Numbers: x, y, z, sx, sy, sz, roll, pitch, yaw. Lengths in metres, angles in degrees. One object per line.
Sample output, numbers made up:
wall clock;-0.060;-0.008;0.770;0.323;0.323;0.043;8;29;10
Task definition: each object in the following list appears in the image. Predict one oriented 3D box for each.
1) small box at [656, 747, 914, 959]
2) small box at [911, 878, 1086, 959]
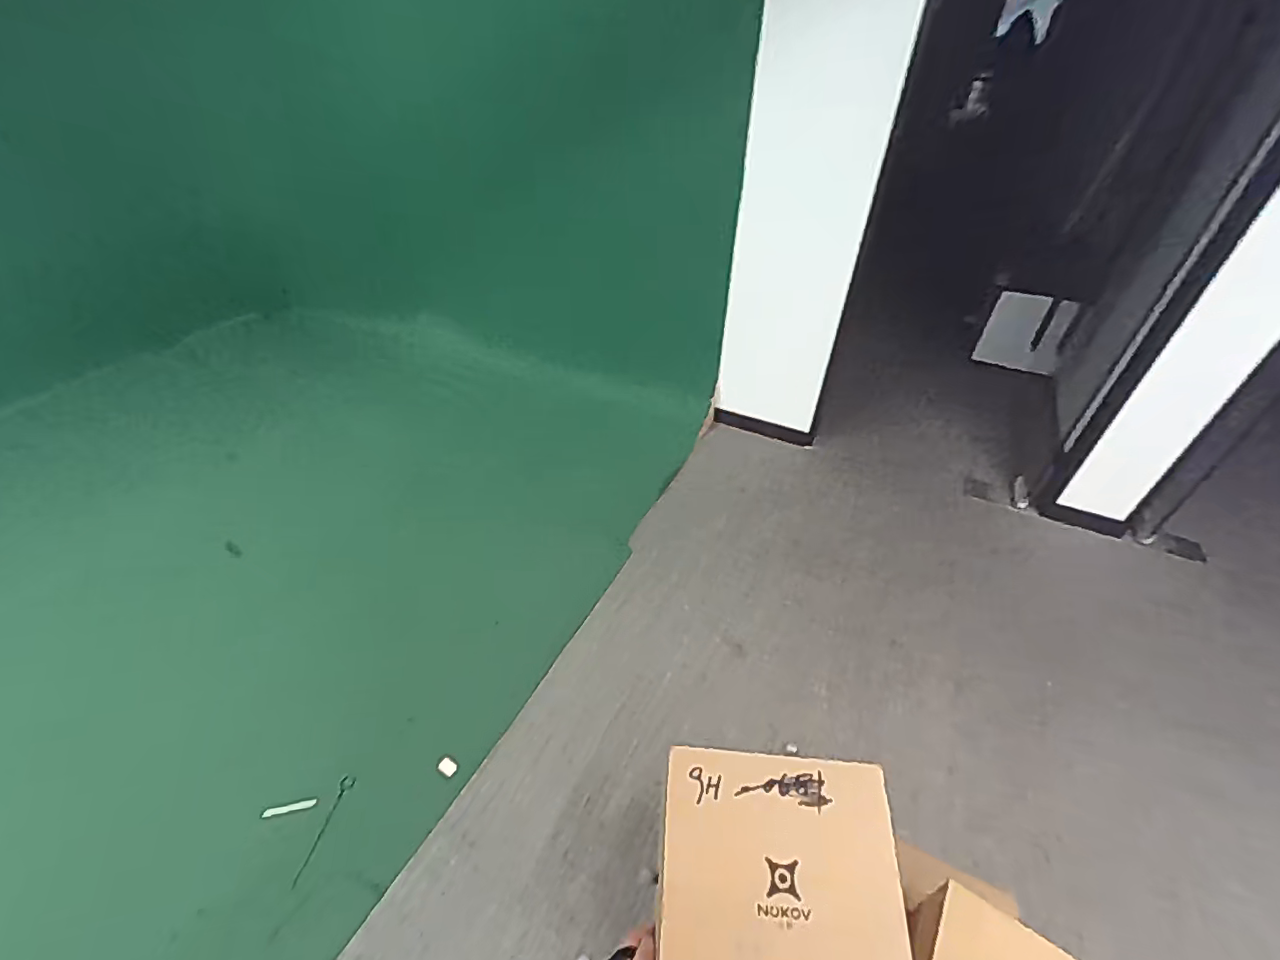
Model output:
small box;0.099;0.327;0.433;0.168;0.176;0.179;3;56;3
small box;0.448;0.679;0.703;0.168;0.176;0.179;23;46;26
